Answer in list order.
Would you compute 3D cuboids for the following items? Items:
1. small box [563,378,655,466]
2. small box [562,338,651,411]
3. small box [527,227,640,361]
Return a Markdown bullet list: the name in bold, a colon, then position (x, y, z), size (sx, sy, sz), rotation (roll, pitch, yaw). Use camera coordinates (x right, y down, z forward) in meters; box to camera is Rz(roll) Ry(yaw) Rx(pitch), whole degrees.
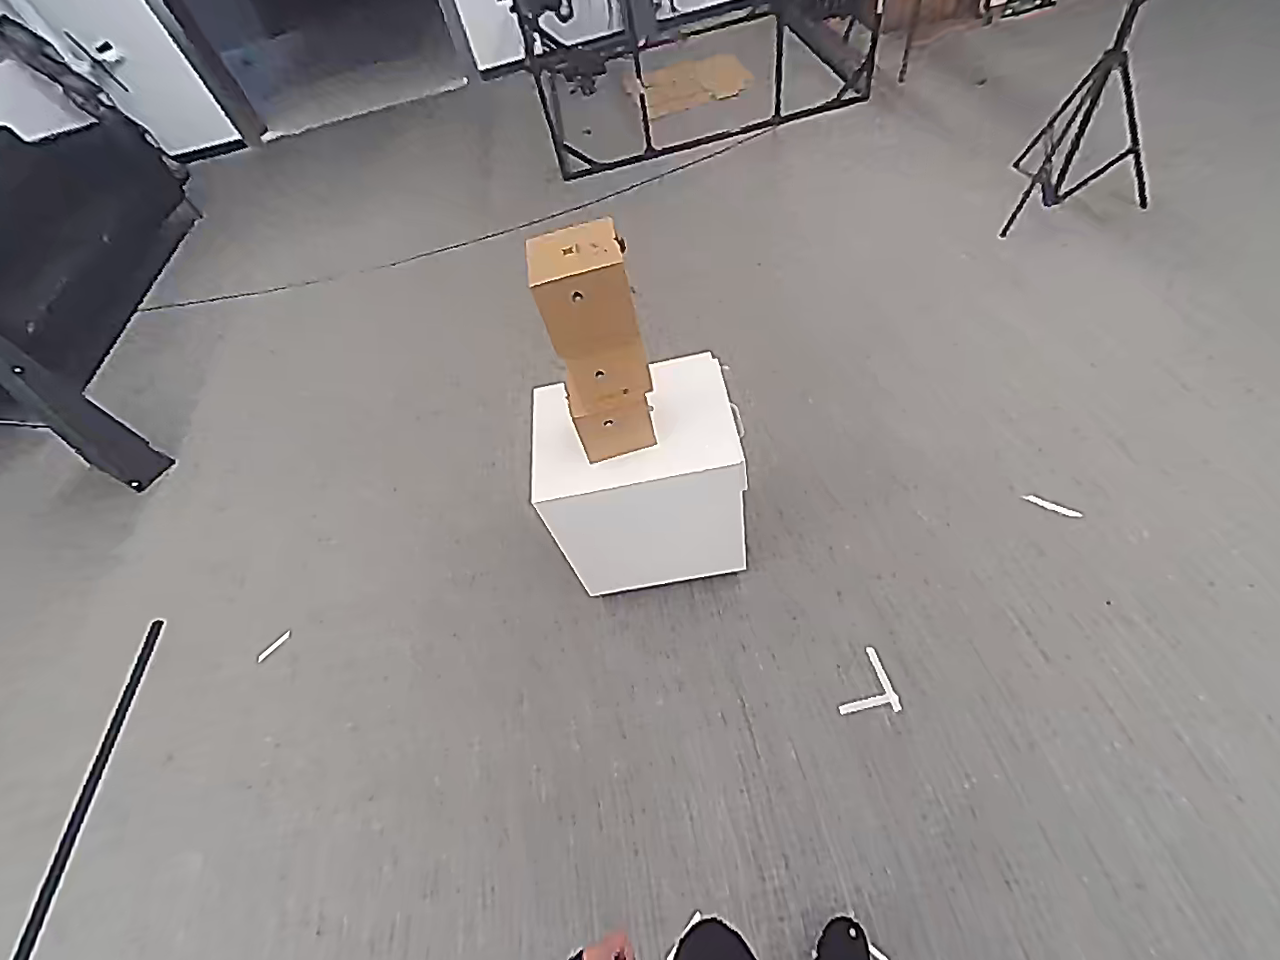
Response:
- **small box**: position (-0.073, -0.159, 1.318), size (0.179, 0.176, 0.168), rotation (-16, 53, -1)
- **small box**: position (-0.080, -0.272, 1.199), size (0.168, 0.176, 0.179), rotation (-16, 52, 1)
- **small box**: position (-0.110, -0.358, 1.061), size (0.179, 0.176, 0.168), rotation (-14, 52, 2)
